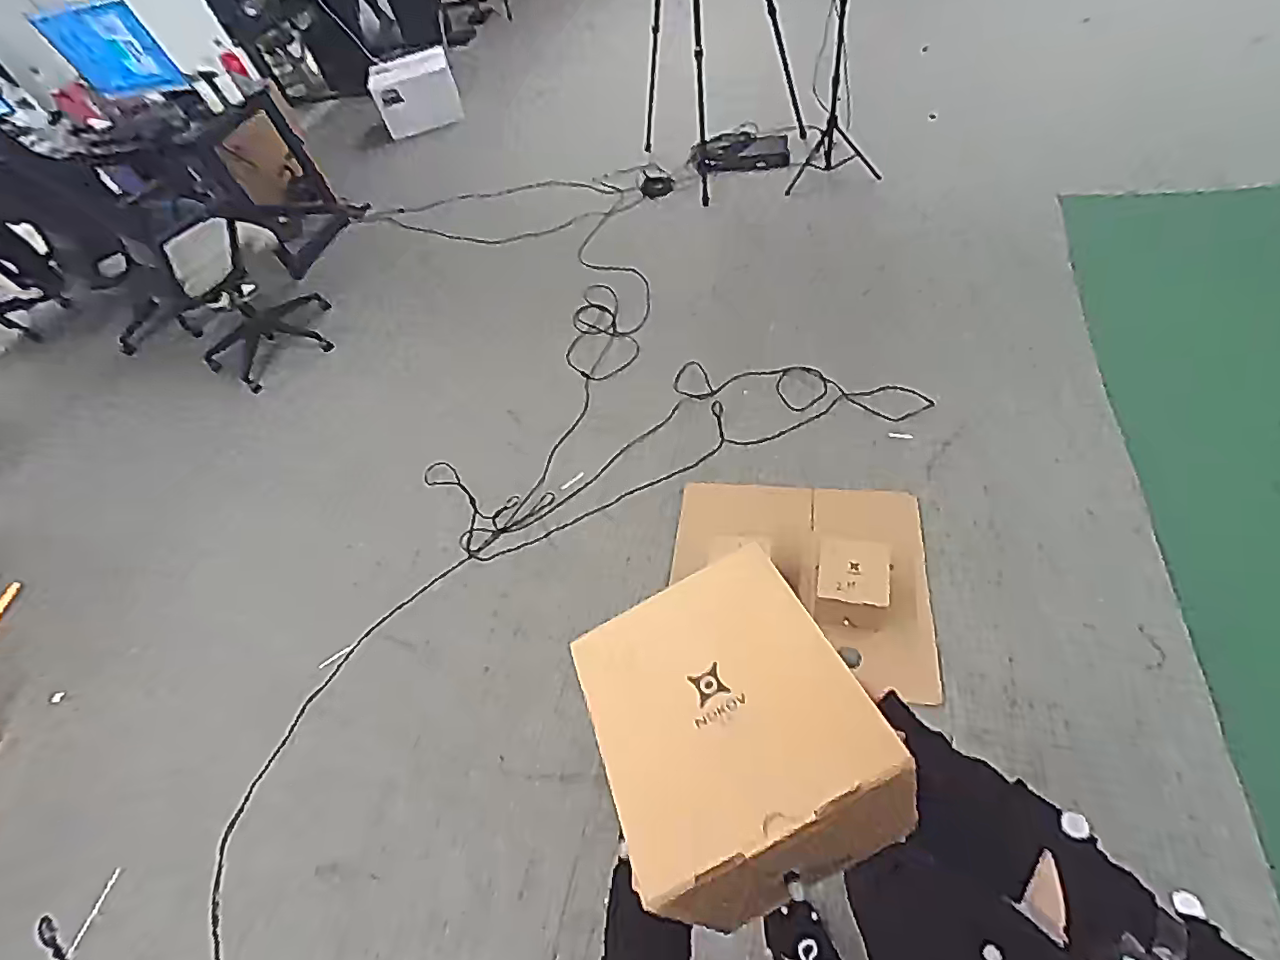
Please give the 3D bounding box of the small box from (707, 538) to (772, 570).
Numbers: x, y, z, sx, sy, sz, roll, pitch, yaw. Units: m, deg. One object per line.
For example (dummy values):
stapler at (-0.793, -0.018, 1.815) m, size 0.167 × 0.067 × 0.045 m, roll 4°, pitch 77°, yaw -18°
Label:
small box at (0.271, 0.274, 1.460) m, size 0.168 × 0.176 × 0.179 m, roll 1°, pitch 55°, yaw 13°

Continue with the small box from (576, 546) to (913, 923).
small box at (0.076, 0.190, 0.407) m, size 0.168 × 0.176 × 0.179 m, roll -29°, pitch 43°, yaw 0°

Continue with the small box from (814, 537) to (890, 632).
small box at (0.544, 0.272, 1.402) m, size 0.168 × 0.176 × 0.179 m, roll 5°, pitch 57°, yaw 18°
